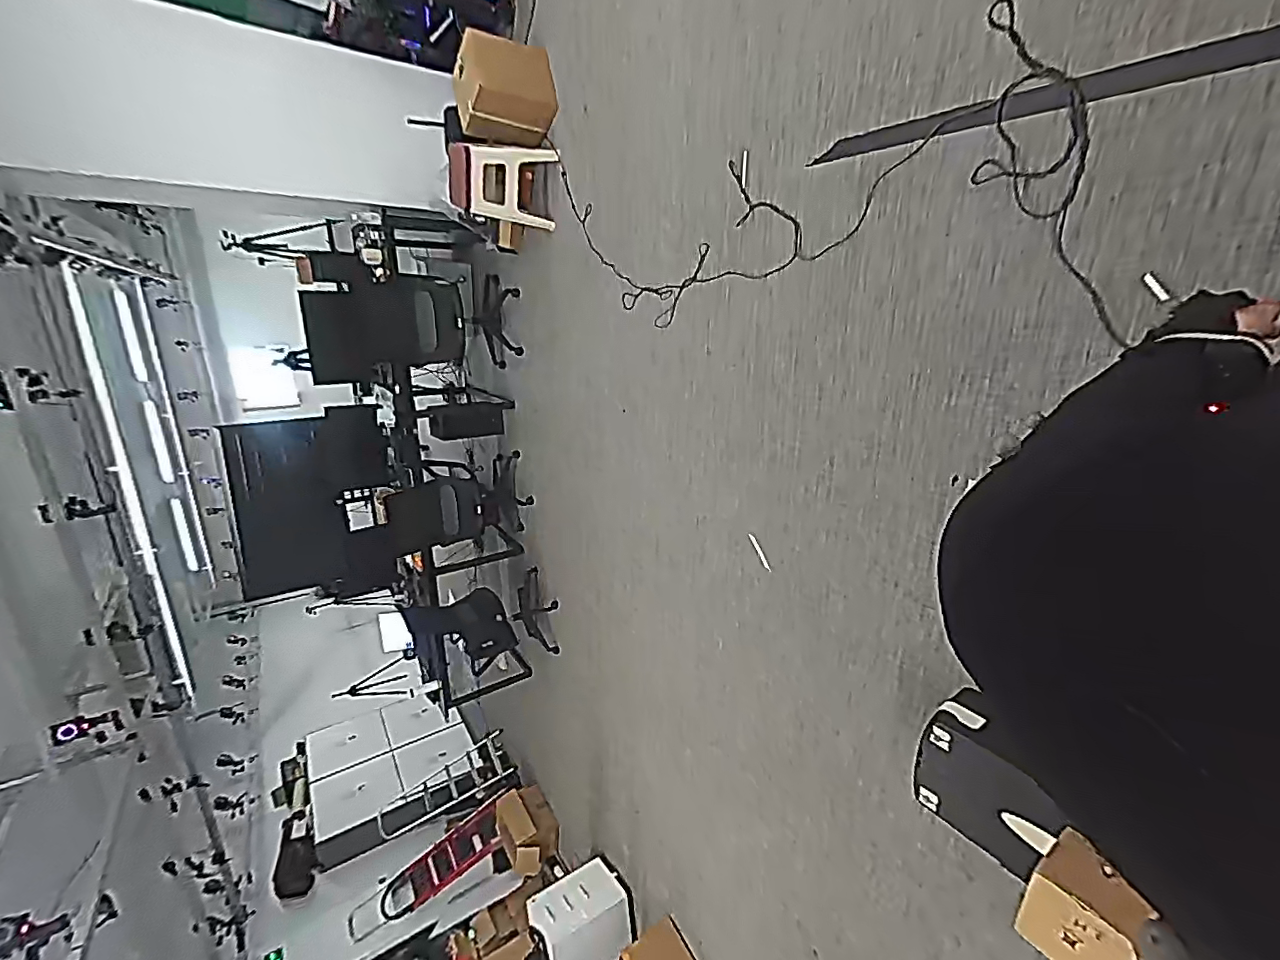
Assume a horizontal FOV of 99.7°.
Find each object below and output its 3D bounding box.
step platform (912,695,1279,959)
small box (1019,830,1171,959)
[{"bbox_3d":[0.979,0.806,1.214,0.684,0.204,0.286,23,119,52],"label":"step platform"},{"bbox_3d":[0.882,0.840,1.050,0.168,0.176,0.179,26,121,51],"label":"small box"}]
